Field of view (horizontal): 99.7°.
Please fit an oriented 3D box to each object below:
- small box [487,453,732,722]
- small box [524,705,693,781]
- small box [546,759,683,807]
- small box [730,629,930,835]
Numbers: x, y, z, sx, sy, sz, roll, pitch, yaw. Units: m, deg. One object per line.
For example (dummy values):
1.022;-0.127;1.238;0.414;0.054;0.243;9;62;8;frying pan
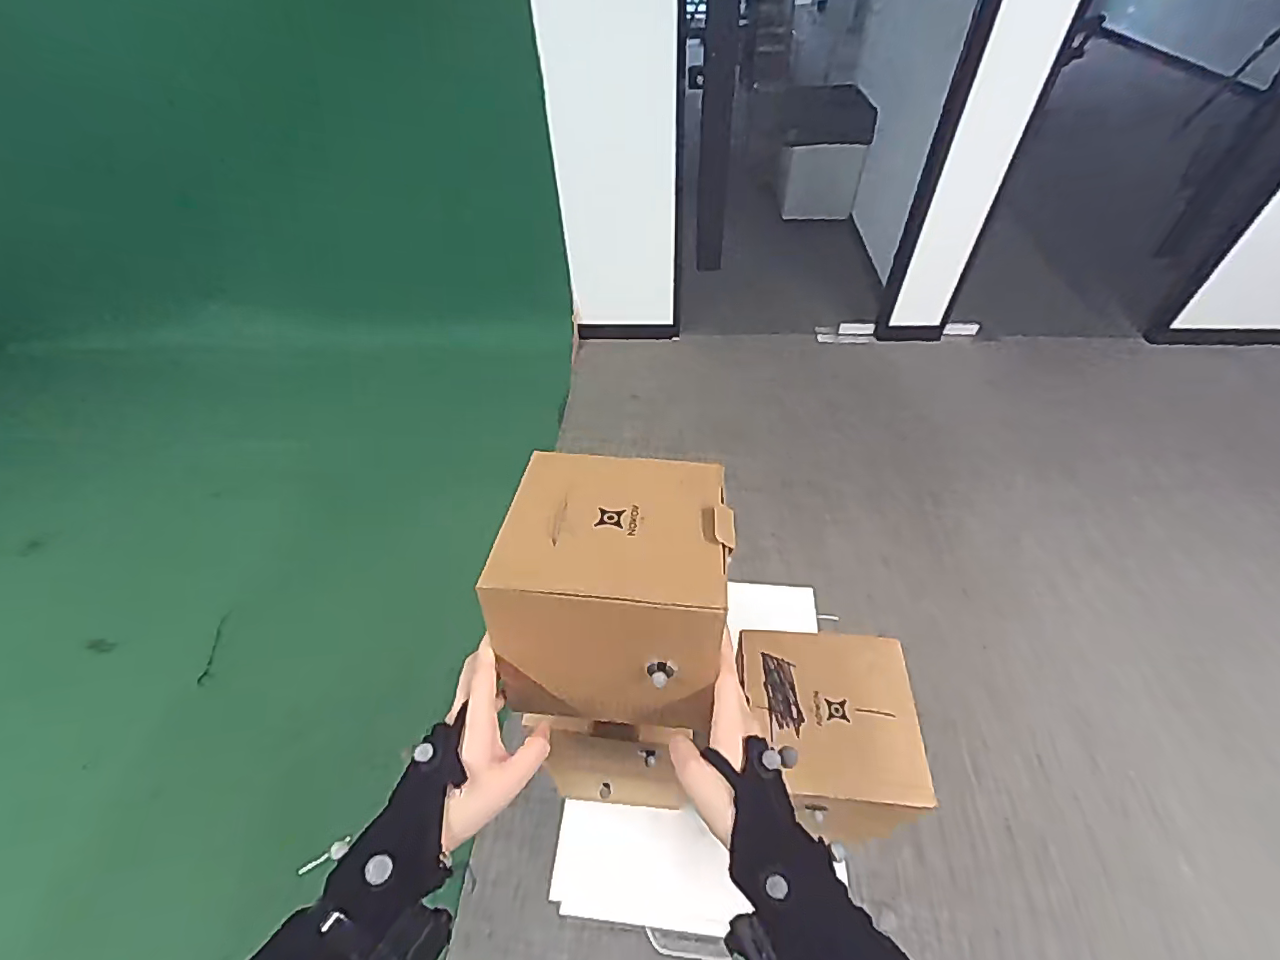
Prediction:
-0.017;0.095;0.489;0.179;0.176;0.168;4;37;4;small box
-0.025;0.250;0.660;0.179;0.176;0.168;6;48;4;small box
-0.025;0.358;0.784;0.179;0.176;0.168;4;48;4;small box
0.195;0.289;0.616;0.179;0.176;0.168;3;48;6;small box
